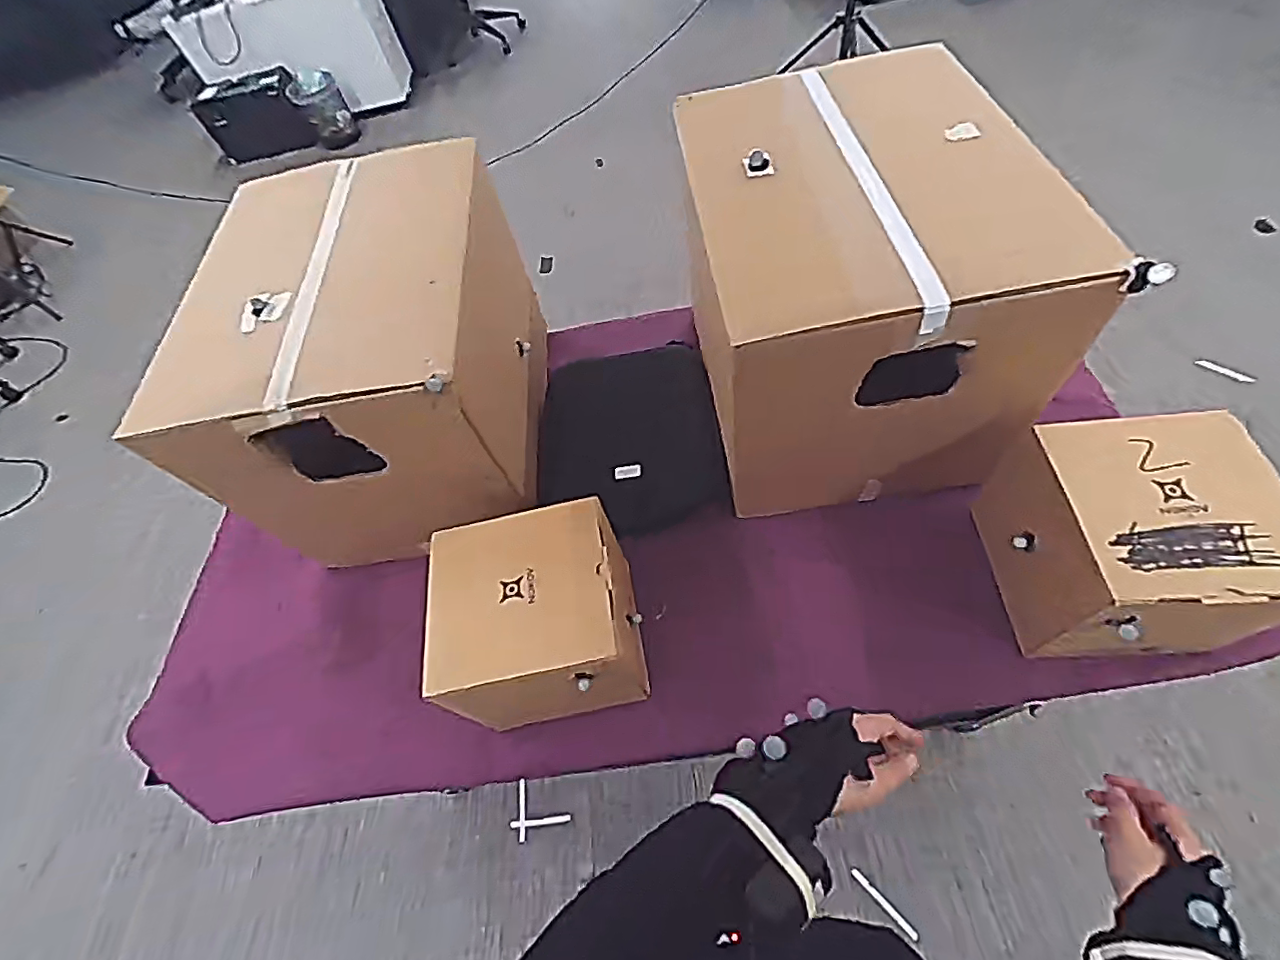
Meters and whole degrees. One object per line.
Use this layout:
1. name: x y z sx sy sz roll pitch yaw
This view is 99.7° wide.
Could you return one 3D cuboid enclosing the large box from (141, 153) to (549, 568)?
1. large box: -0.313 -0.142 0.710 0.320 0.320 0.408 -10 60 4
